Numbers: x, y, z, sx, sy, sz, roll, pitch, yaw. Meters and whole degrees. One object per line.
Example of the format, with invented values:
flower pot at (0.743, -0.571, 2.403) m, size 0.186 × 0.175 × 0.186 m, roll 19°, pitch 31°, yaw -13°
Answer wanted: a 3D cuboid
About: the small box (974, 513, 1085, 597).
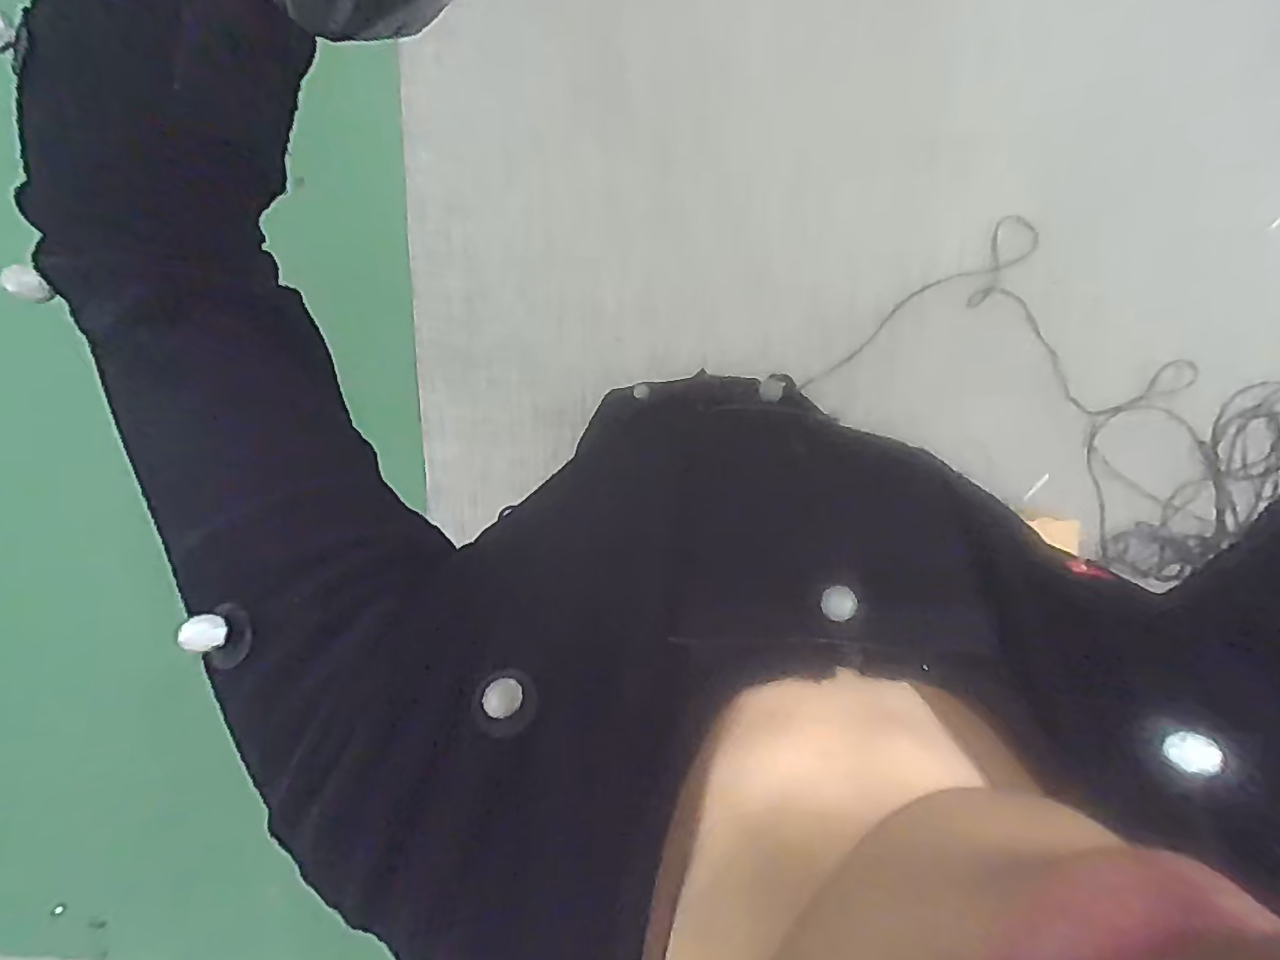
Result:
small box at (0.982, 0.187, 1.379) m, size 0.168 × 0.176 × 0.179 m, roll -1°, pitch 97°, yaw 2°
